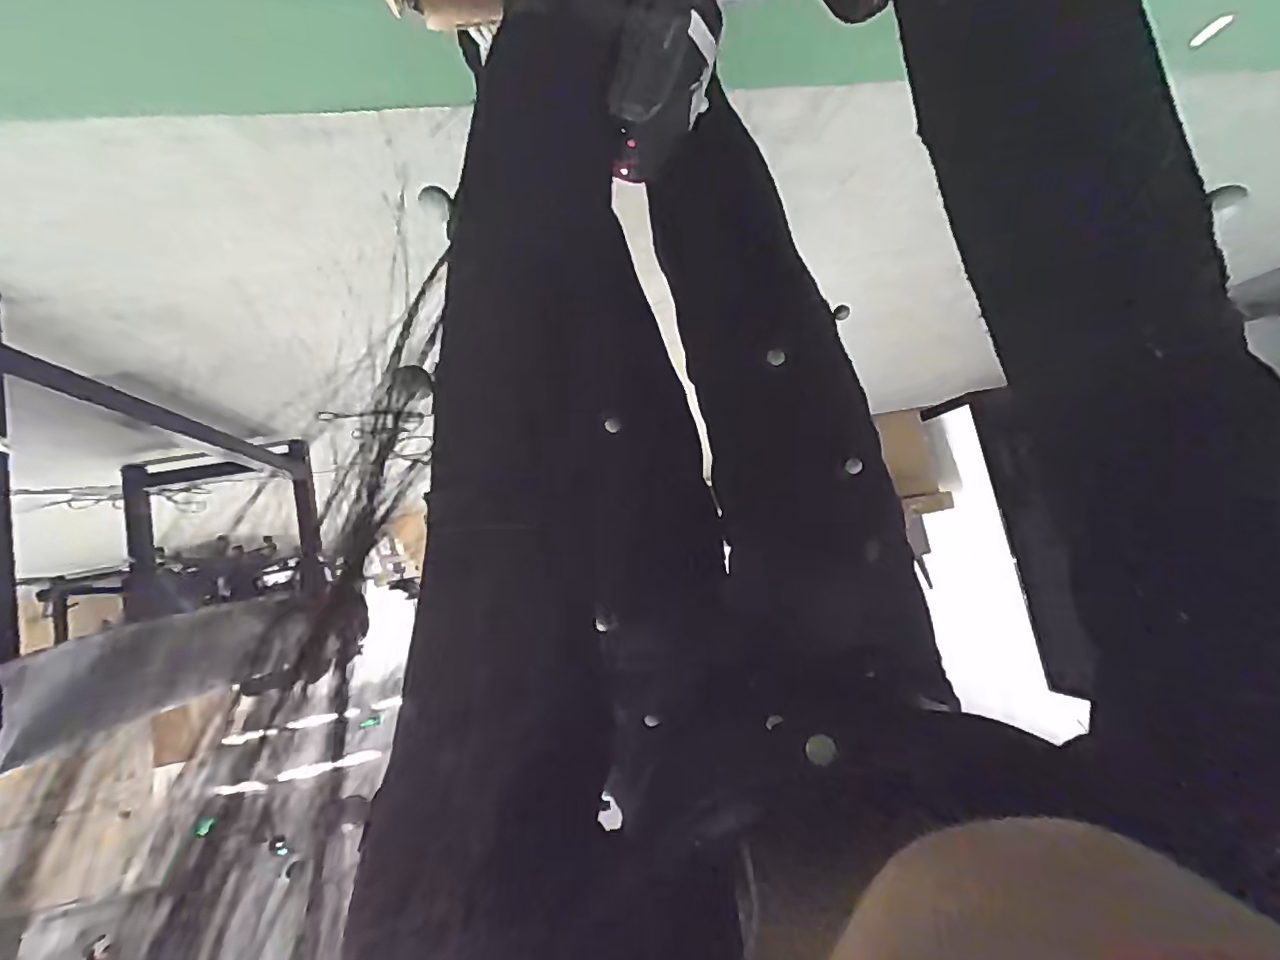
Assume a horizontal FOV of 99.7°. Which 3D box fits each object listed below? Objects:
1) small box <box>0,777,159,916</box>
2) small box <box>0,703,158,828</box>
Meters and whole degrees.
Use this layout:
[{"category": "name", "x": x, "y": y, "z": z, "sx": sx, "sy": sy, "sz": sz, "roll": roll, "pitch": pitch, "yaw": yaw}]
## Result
[{"category": "small box", "x": -1.161, "y": 0.748, "z": 1.127, "sx": 0.179, "sy": 0.176, "sz": 0.168, "roll": -11, "pitch": 174, "yaw": -7}, {"category": "small box", "x": -1.176, "y": 0.585, "z": 1.137, "sx": 0.179, "sy": 0.176, "sz": 0.168, "roll": -9, "pitch": 173, "yaw": -9}]
